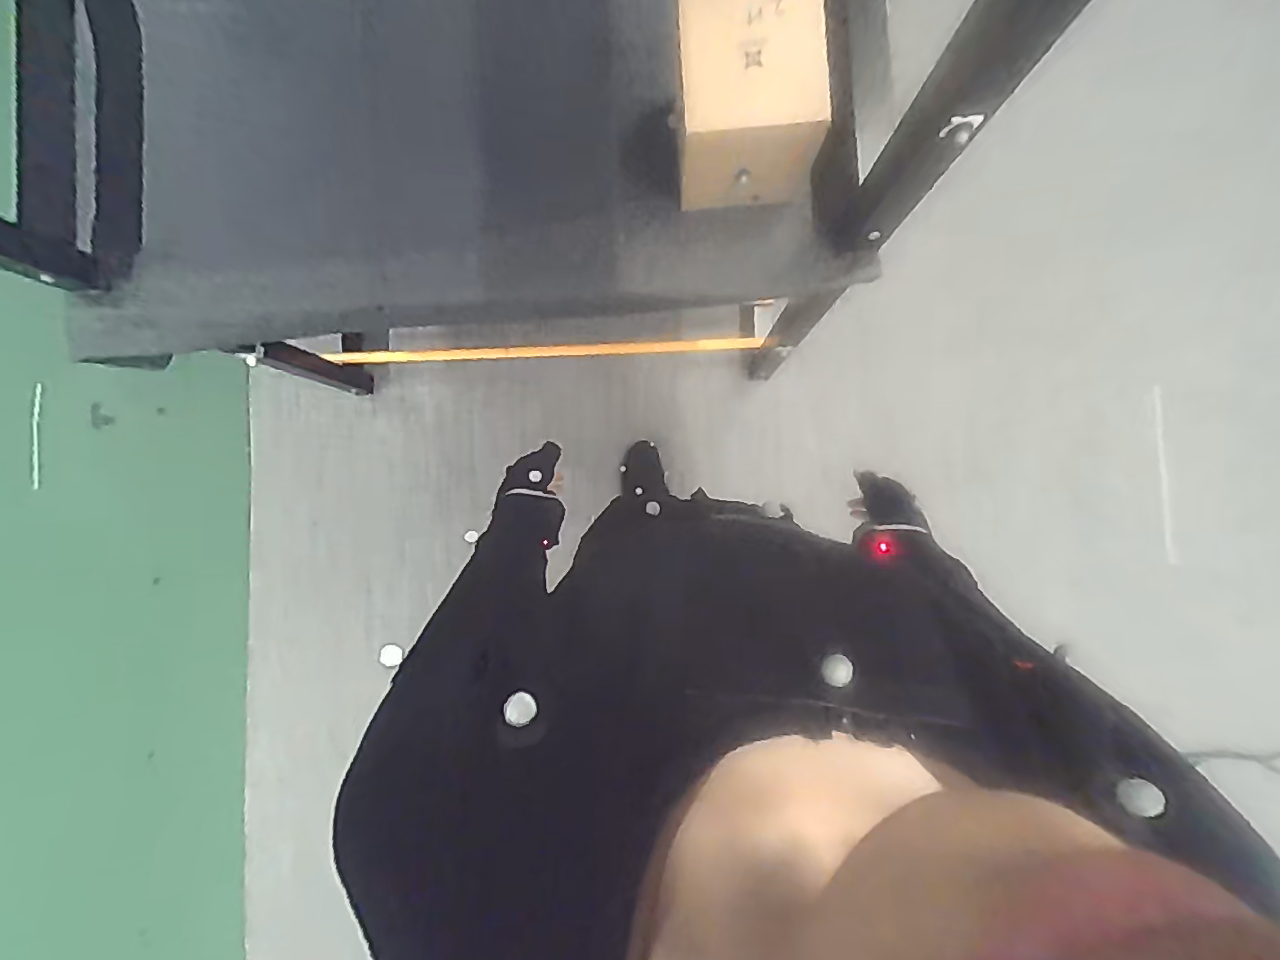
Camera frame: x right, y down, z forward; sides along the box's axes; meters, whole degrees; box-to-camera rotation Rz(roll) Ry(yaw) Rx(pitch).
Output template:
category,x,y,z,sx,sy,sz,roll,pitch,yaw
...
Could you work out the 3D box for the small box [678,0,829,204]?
category,x,y,z,sx,sy,sz,roll,pitch,yaw
small box,0.135,-0.480,0.699,0.168,0.176,0.179,-3,87,3
